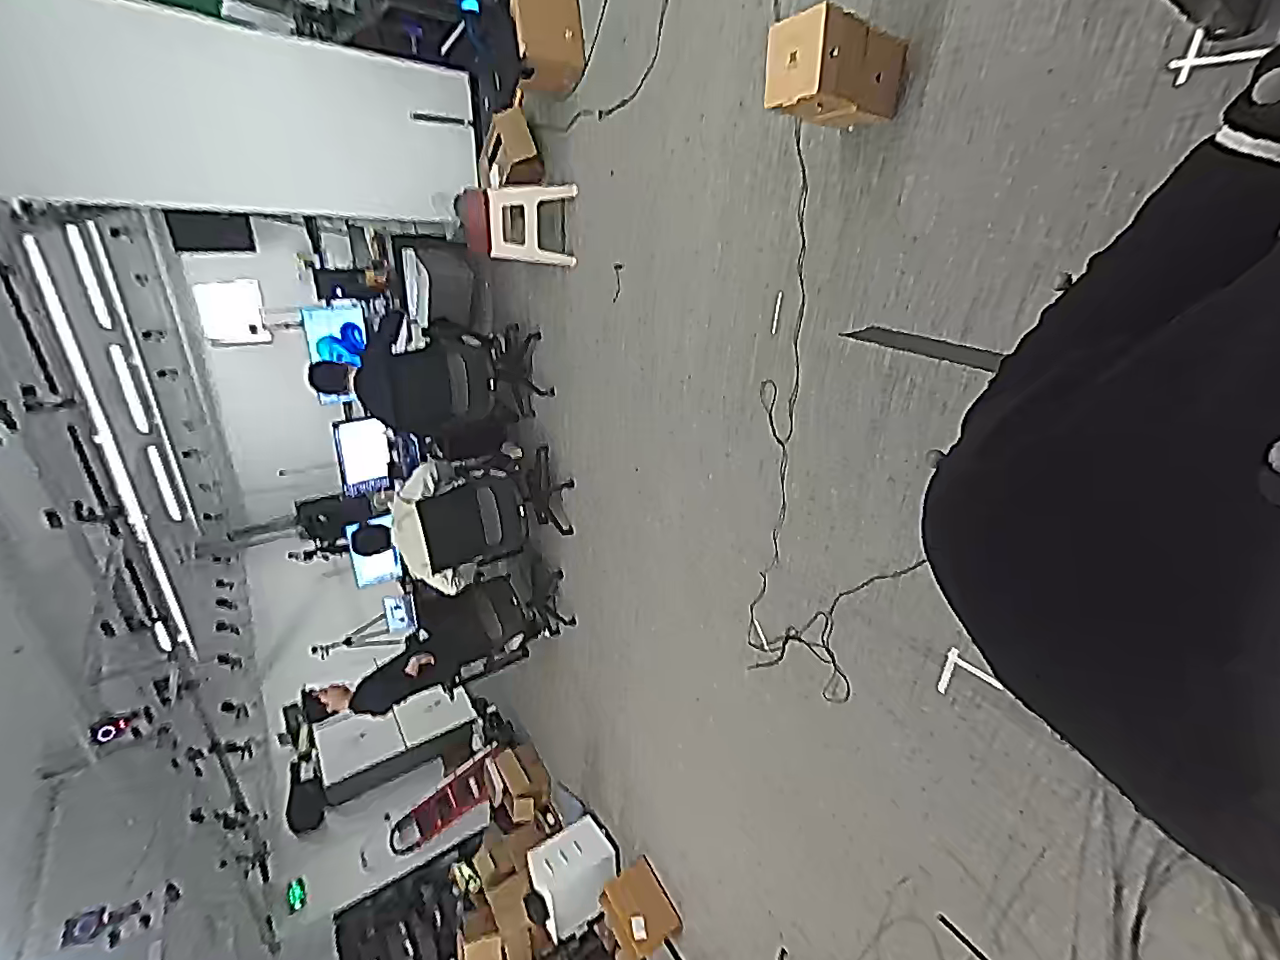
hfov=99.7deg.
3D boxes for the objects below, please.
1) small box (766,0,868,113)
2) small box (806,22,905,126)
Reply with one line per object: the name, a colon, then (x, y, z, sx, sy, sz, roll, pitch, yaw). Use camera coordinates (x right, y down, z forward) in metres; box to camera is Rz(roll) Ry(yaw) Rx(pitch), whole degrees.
small box: (0.433, -1.022, 1.325, 0.168, 0.176, 0.179, 26, 122, 49)
small box: (0.565, -1.050, 1.415, 0.168, 0.176, 0.179, 30, 127, 48)
